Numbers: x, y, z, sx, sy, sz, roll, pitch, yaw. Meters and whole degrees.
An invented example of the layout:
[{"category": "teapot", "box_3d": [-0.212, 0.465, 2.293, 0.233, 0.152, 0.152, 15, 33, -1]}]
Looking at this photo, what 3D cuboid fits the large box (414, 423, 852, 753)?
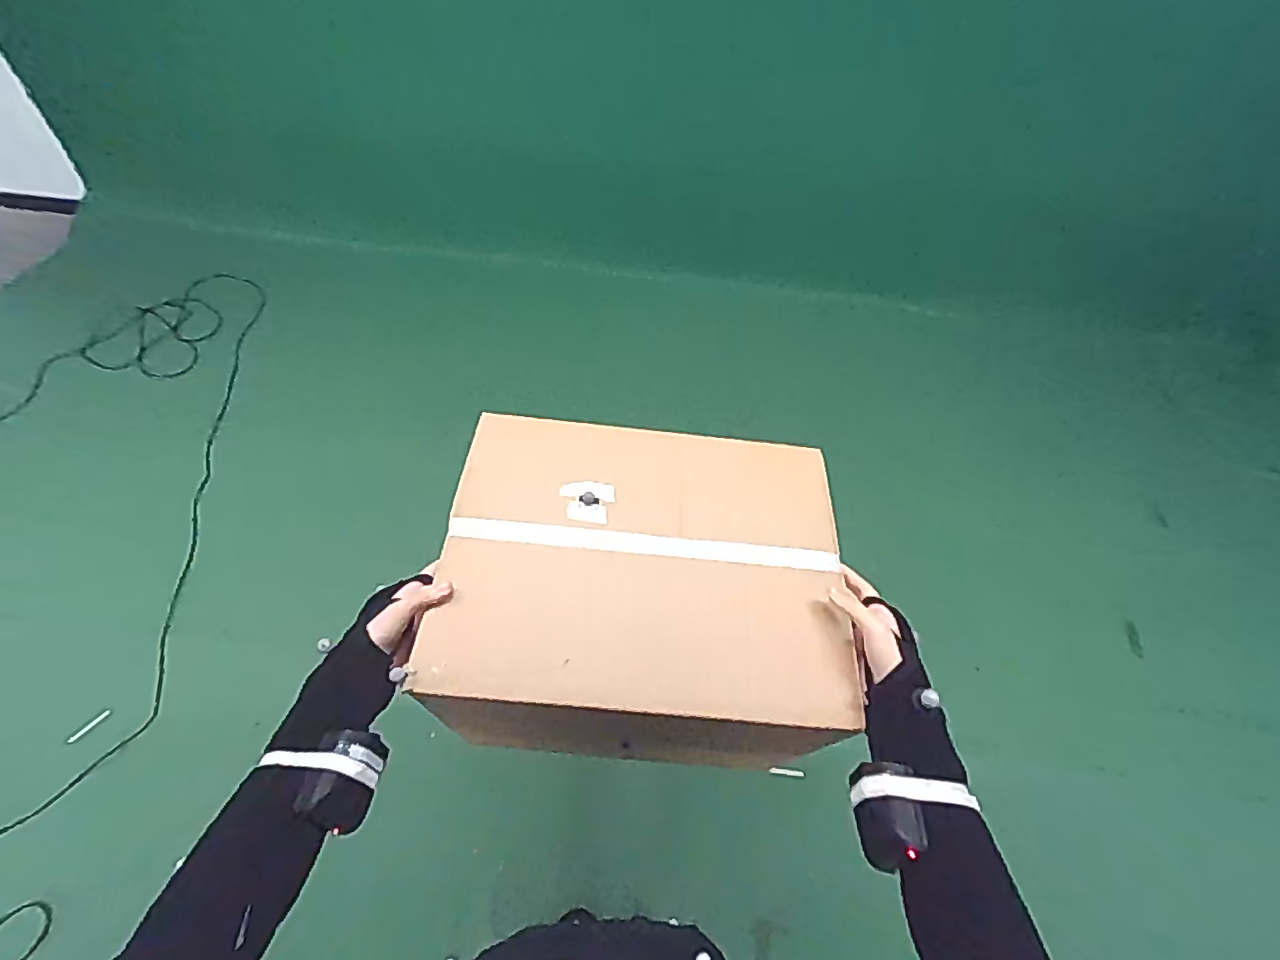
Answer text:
[{"category": "large box", "box_3d": [-0.005, 0.155, 0.688, 0.408, 0.320, 0.320, 5, 56, -2]}]
